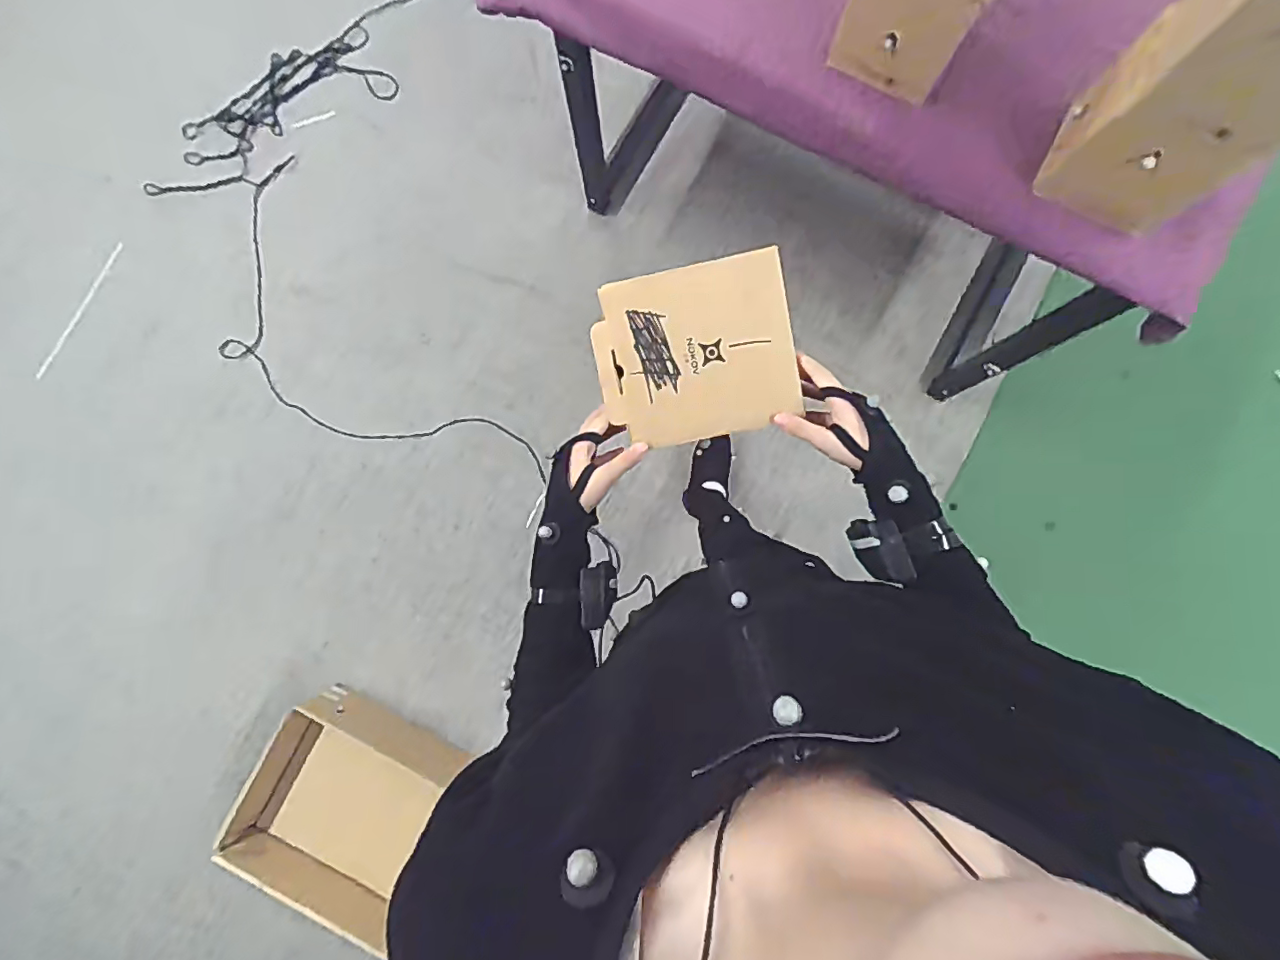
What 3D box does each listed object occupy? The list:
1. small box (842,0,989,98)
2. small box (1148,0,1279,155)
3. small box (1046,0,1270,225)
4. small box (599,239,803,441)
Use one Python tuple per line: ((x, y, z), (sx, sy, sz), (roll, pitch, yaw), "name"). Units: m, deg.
((0.417, -0.709, 0.779), (0.168, 0.176, 0.179), (29, 85, 5), "small box")
((0.715, -0.503, 0.578), (0.168, 0.176, 0.179), (29, 86, 8), "small box")
((0.722, -0.486, 0.742), (0.179, 0.176, 0.168), (28, 87, 7), "small box")
((0.065, -0.143, 0.605), (0.179, 0.176, 0.168), (-12, 98, 5), "small box")
